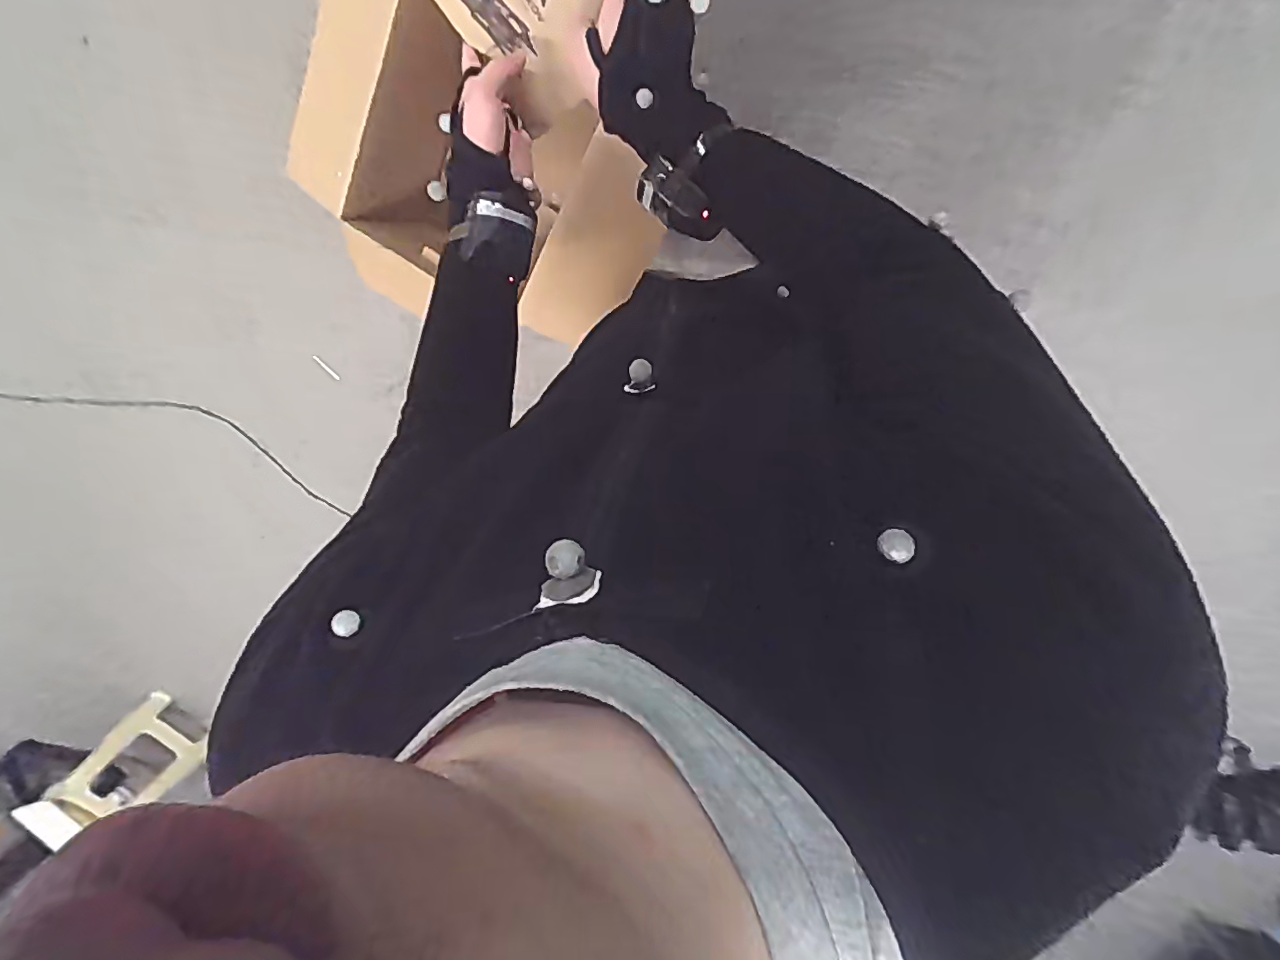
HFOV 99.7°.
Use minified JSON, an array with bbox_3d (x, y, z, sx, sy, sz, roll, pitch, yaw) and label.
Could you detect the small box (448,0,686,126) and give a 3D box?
[{"bbox_3d":[-0.056,-0.468,0.476,0.179,0.176,0.168,-11,137,38],"label":"small box"}]
